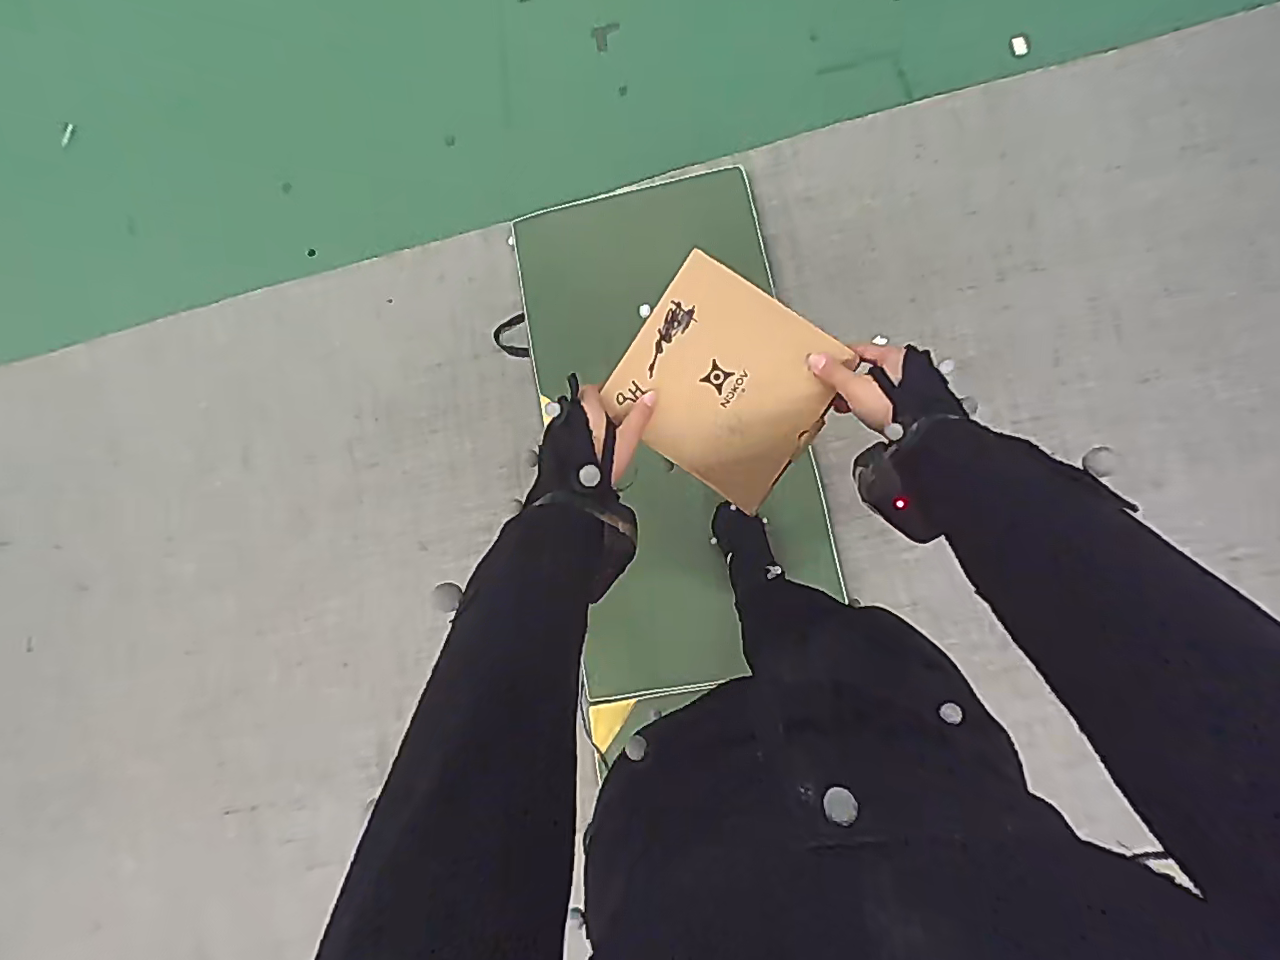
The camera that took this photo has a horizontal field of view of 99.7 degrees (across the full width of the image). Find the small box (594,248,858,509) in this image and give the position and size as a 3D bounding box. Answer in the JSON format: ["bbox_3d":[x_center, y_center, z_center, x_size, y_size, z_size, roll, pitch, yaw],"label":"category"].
[{"bbox_3d":[0.077,-0.095,0.552,0.179,0.176,0.168,34,95,-1],"label":"small box"}]
